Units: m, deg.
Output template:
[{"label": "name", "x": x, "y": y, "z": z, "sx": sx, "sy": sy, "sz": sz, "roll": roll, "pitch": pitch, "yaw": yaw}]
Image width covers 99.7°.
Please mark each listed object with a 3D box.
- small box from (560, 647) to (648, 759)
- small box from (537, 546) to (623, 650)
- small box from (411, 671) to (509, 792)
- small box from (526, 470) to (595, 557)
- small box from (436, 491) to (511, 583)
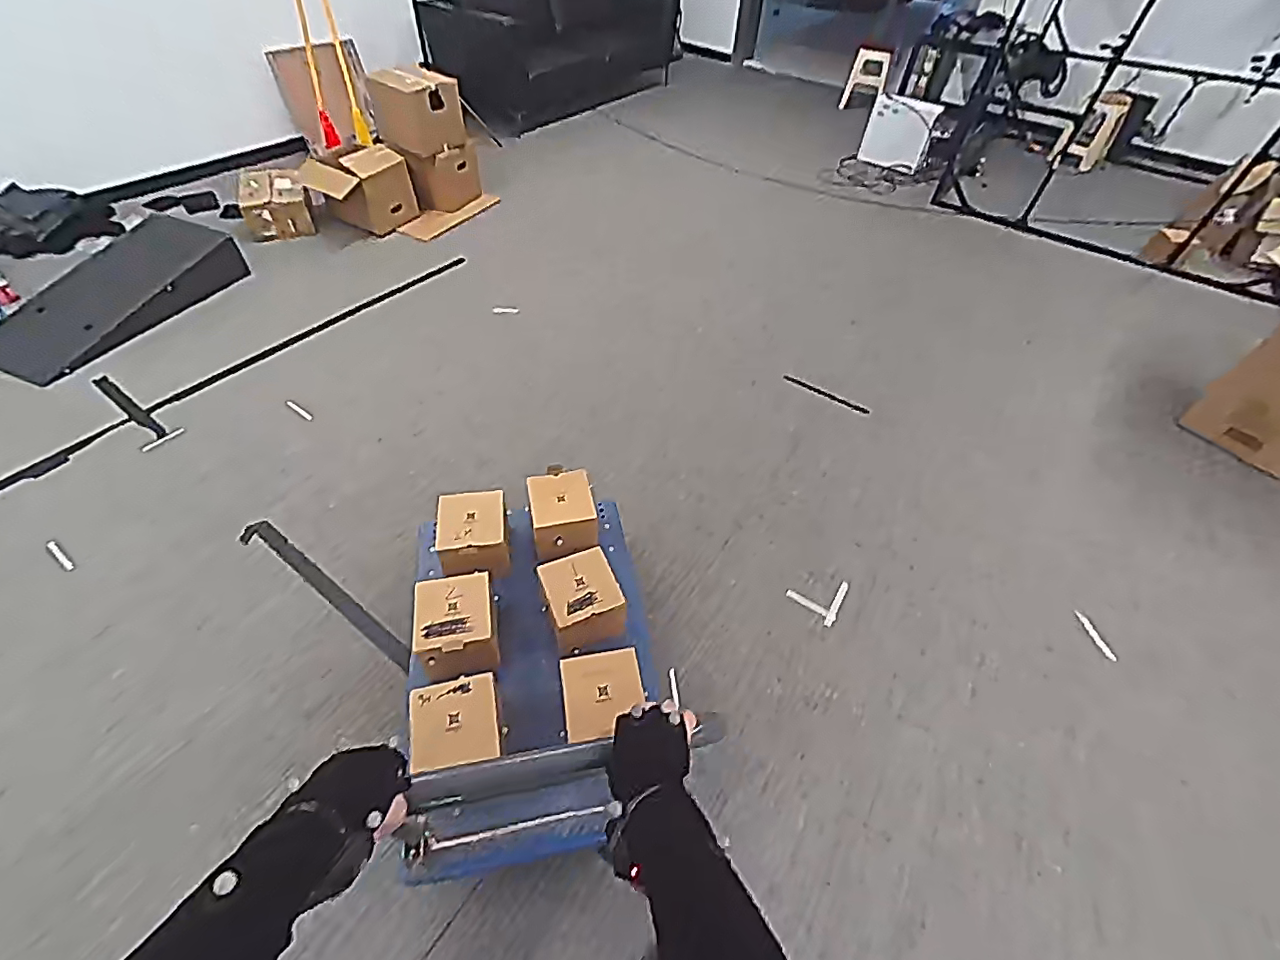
[{"label": "small box", "x": -0.081, "y": 0.492, "z": 1.184, "sx": 0.168, "sy": 0.176, "sz": 0.179, "roll": -6, "pitch": 49, "yaw": -11}, {"label": "small box", "x": -0.148, "y": 0.301, "z": 1.343, "sx": 0.168, "sy": 0.176, "sz": 0.179, "roll": -16, "pitch": 52, "yaw": -18}, {"label": "small box", "x": -0.371, "y": 0.528, "z": 1.123, "sx": 0.168, "sy": 0.176, "sz": 0.179, "roll": -9, "pitch": 51, "yaw": -14}, {"label": "small box", "x": -0.220, "y": 0.099, "z": 1.512, "sx": 0.168, "sy": 0.176, "sz": 0.179, "roll": -9, "pitch": 50, "yaw": -13}, {"label": "small box", "x": -0.440, "y": 0.152, "z": 1.444, "sx": 0.168, "sy": 0.176, "sz": 0.179, "roll": -5, "pitch": 51, "yaw": -10}]
